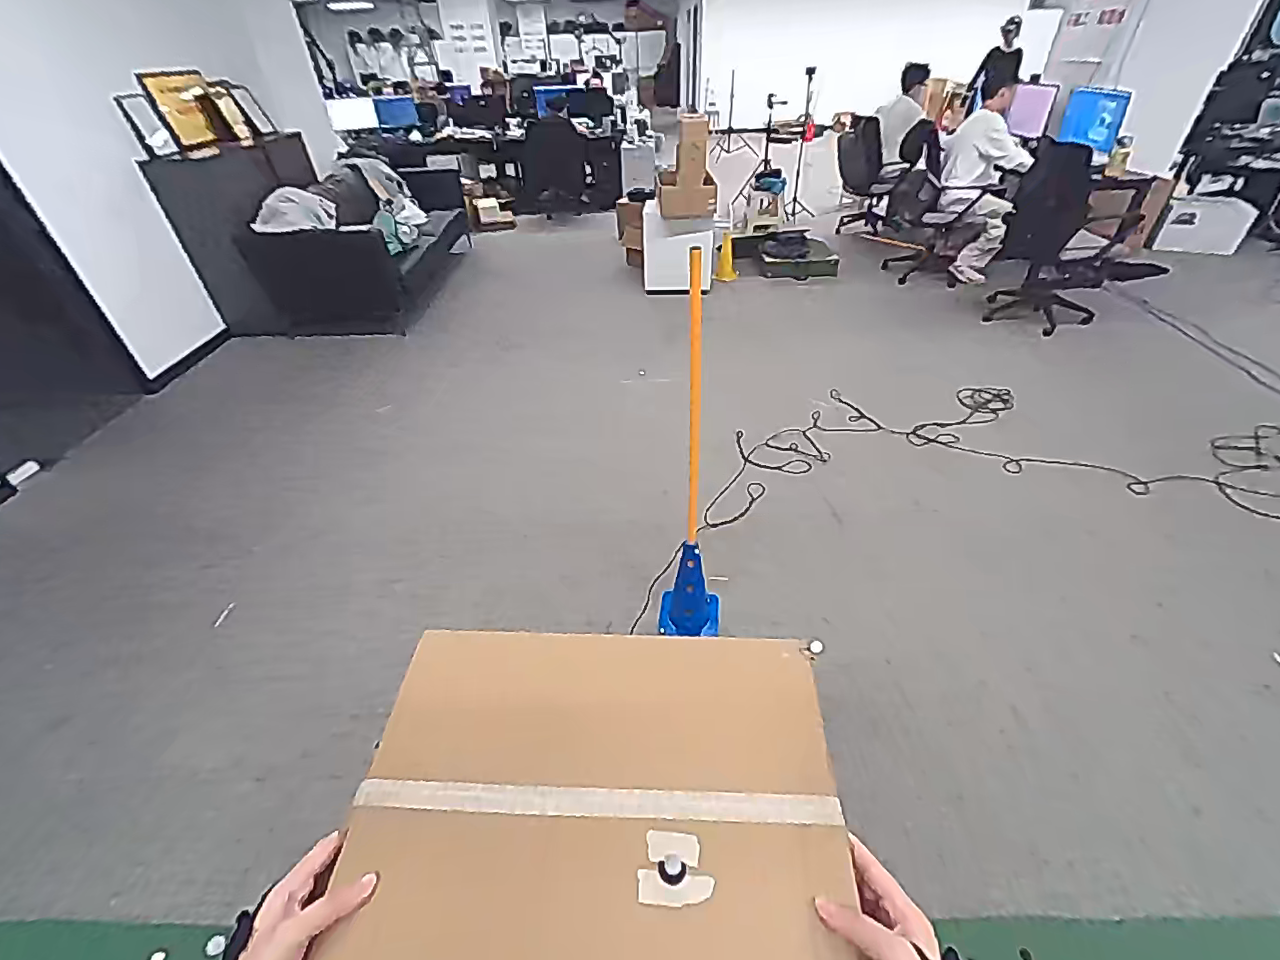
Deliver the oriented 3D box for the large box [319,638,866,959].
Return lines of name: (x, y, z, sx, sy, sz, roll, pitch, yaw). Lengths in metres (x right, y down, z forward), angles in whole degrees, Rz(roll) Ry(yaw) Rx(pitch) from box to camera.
large box: (-0.031, 0.385, 0.566, 0.408, 0.320, 0.320, 1, 44, 3)

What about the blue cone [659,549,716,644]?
blue cone: (0.157, 0.358, 1.749, 0.193, 0.380, 0.192, 4, 39, 9)
